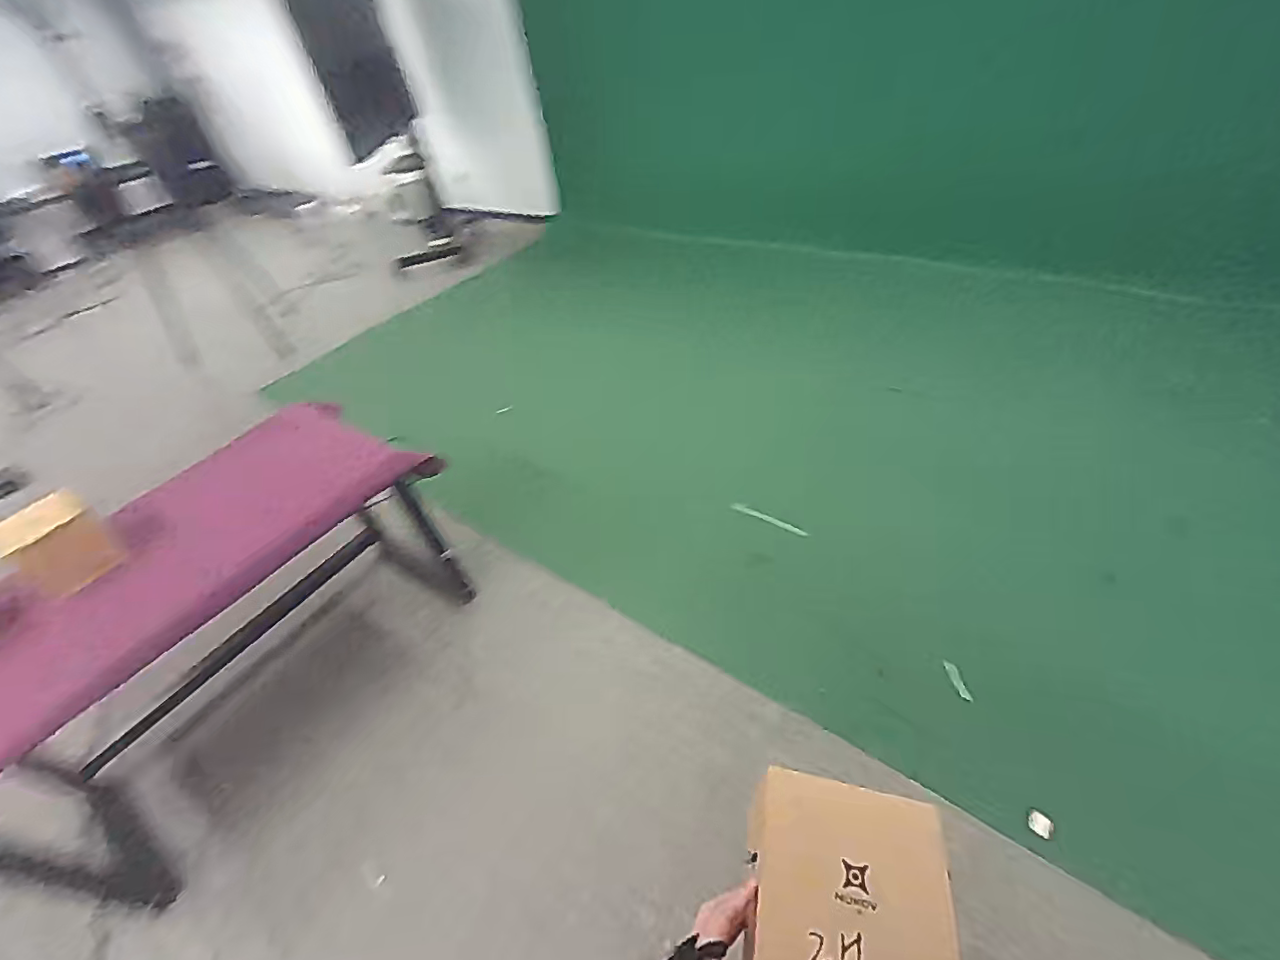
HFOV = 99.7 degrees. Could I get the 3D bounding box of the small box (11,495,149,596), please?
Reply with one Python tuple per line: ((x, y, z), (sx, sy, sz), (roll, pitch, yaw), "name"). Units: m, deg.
((-1.444, 0.172, 1.402), (0.179, 0.176, 0.168), (22, 52, 30), "small box")
